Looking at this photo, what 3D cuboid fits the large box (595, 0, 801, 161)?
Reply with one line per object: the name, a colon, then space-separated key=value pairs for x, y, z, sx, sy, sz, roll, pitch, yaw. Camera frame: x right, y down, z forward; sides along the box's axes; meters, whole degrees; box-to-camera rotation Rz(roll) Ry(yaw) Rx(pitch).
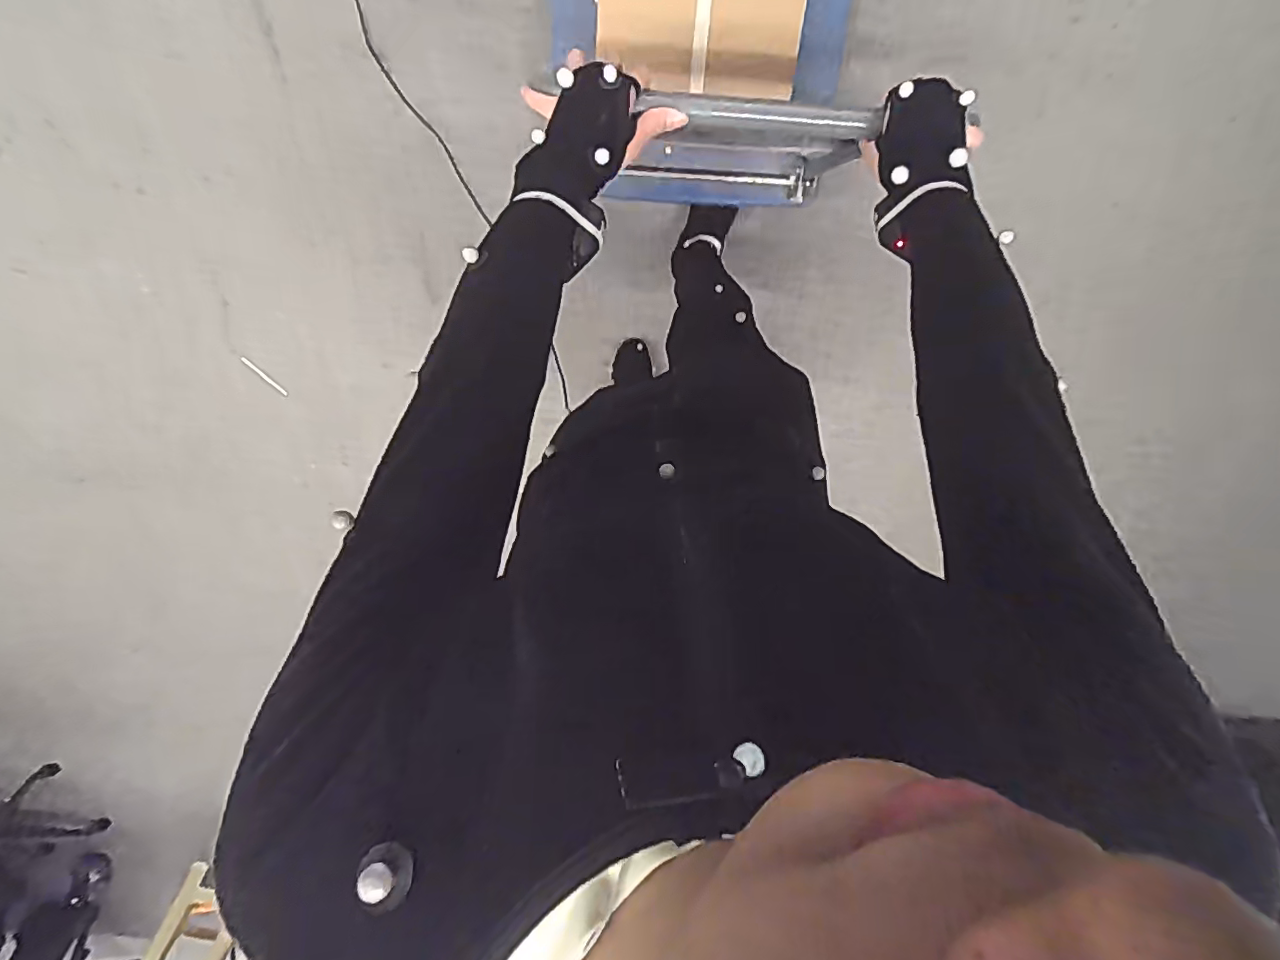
large box: x=0.090 y=-0.808 z=0.941 sx=0.320 sy=0.320 sz=0.408 roll=2 pitch=114 yaw=-3
